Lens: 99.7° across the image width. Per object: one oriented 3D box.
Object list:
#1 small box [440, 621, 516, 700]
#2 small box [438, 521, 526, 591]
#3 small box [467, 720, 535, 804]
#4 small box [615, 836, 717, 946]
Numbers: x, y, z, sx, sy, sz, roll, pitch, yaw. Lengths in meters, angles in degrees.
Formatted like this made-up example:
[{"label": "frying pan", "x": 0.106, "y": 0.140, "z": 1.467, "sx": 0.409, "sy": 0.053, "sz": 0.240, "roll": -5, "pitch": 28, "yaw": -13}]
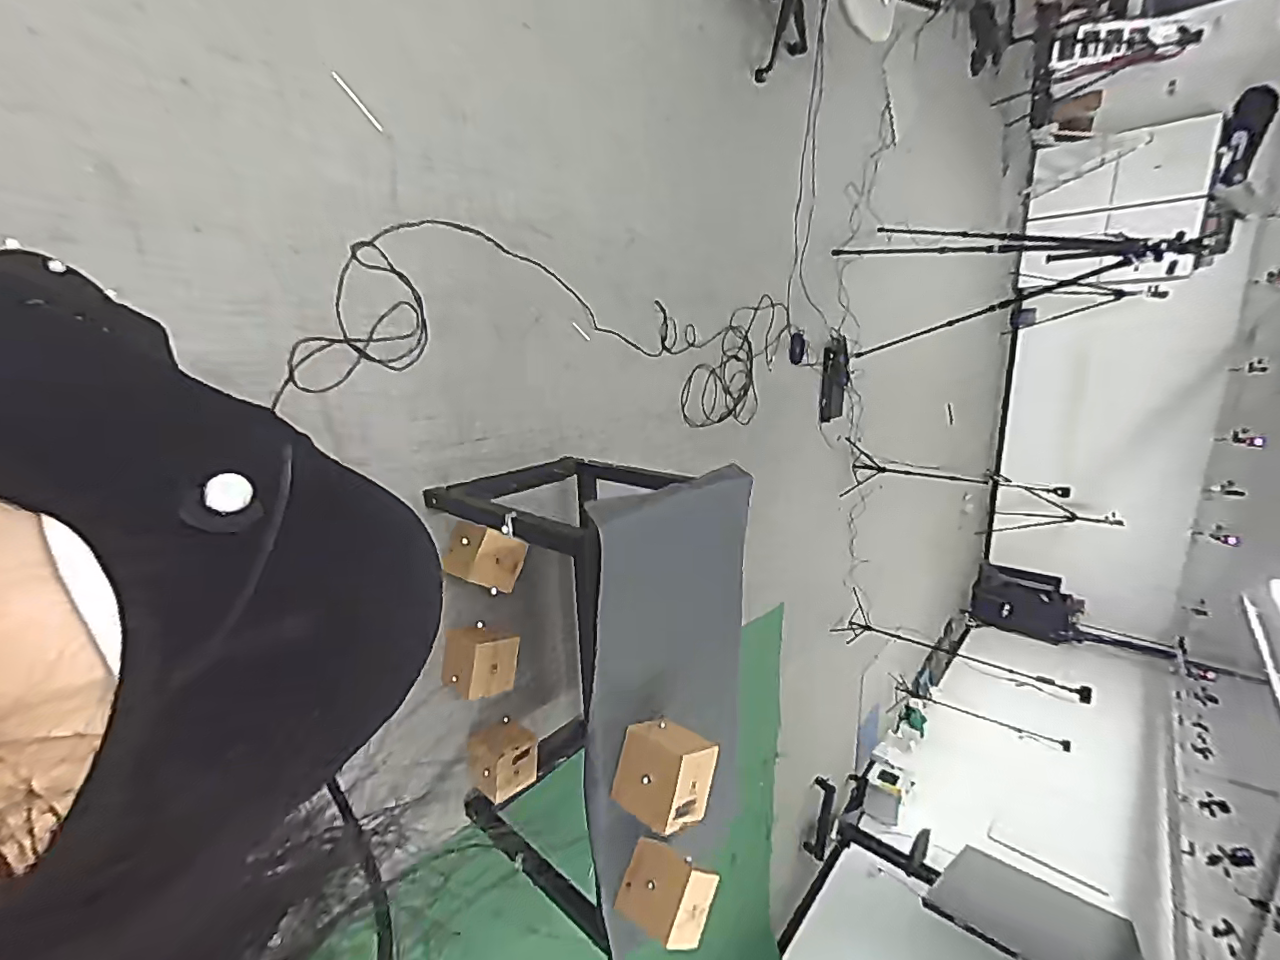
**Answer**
[{"label": "small box", "x": -0.521, "y": 0.570, "z": 1.729, "sx": 0.168, "sy": 0.176, "sz": 0.179, "roll": 4, "pitch": 93, "yaw": -50}, {"label": "small box", "x": -0.496, "y": 0.234, "z": 1.690, "sx": 0.179, "sy": 0.176, "sz": 0.168, "roll": 33, "pitch": 73, "yaw": -48}, {"label": "small box", "x": -0.479, "y": 0.951, "z": 1.854, "sx": 0.168, "sy": 0.176, "sz": 0.179, "roll": -9, "pitch": 105, "yaw": -47}, {"label": "small box", "x": 0.066, "y": 1.039, "z": 1.373, "sx": 0.179, "sy": 0.176, "sz": 0.168, "roll": 50, "pitch": 58, "yaw": -42}]
